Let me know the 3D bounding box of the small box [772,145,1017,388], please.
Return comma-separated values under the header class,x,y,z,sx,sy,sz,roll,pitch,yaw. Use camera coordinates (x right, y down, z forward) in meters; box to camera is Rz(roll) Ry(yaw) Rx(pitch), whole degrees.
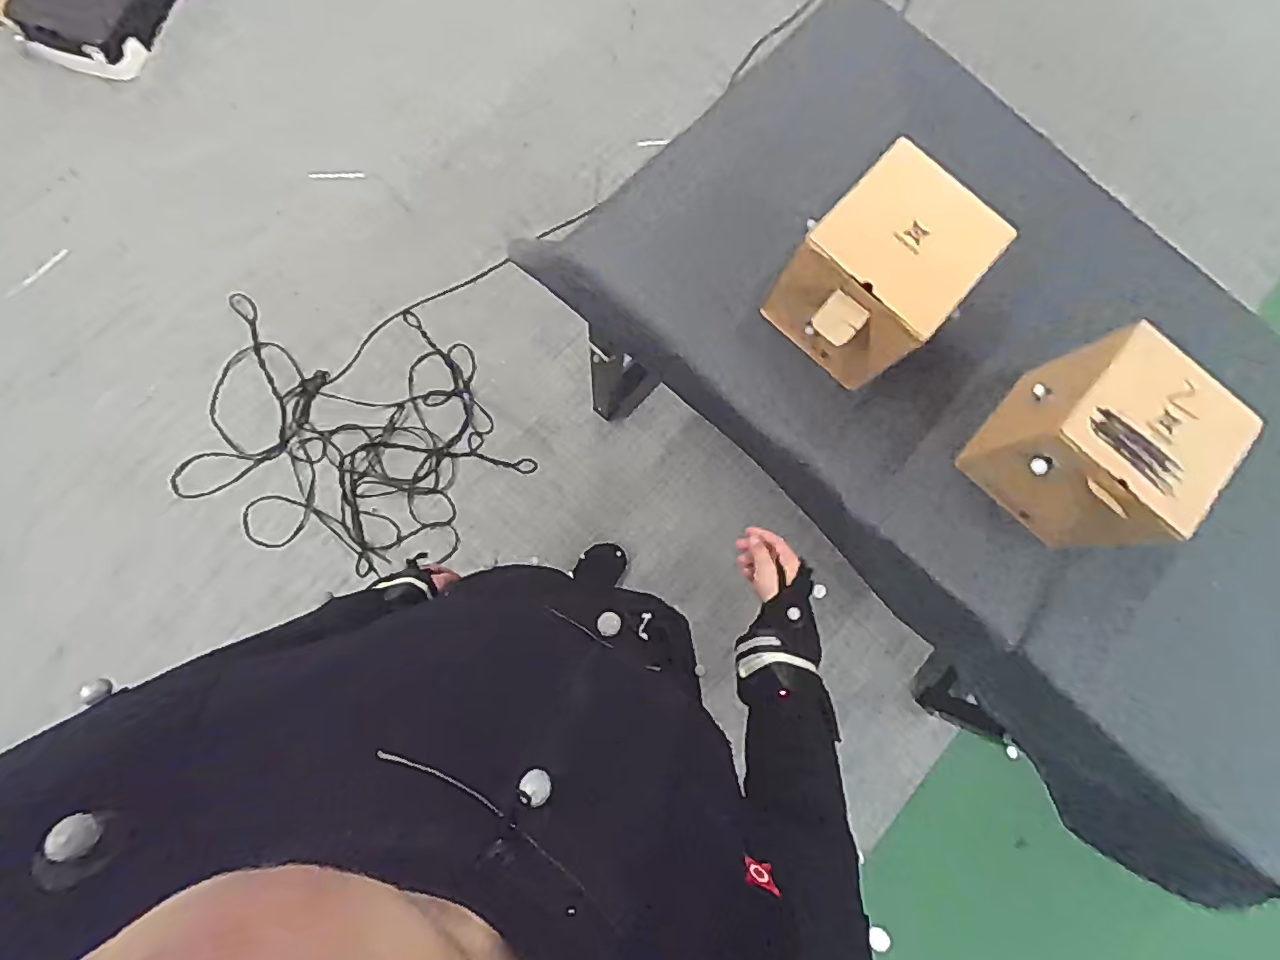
class,x,y,z,sx,sy,sz,roll,pitch,yaw
small box,0.289,-0.243,0.656,0.168,0.176,0.179,42,81,2
